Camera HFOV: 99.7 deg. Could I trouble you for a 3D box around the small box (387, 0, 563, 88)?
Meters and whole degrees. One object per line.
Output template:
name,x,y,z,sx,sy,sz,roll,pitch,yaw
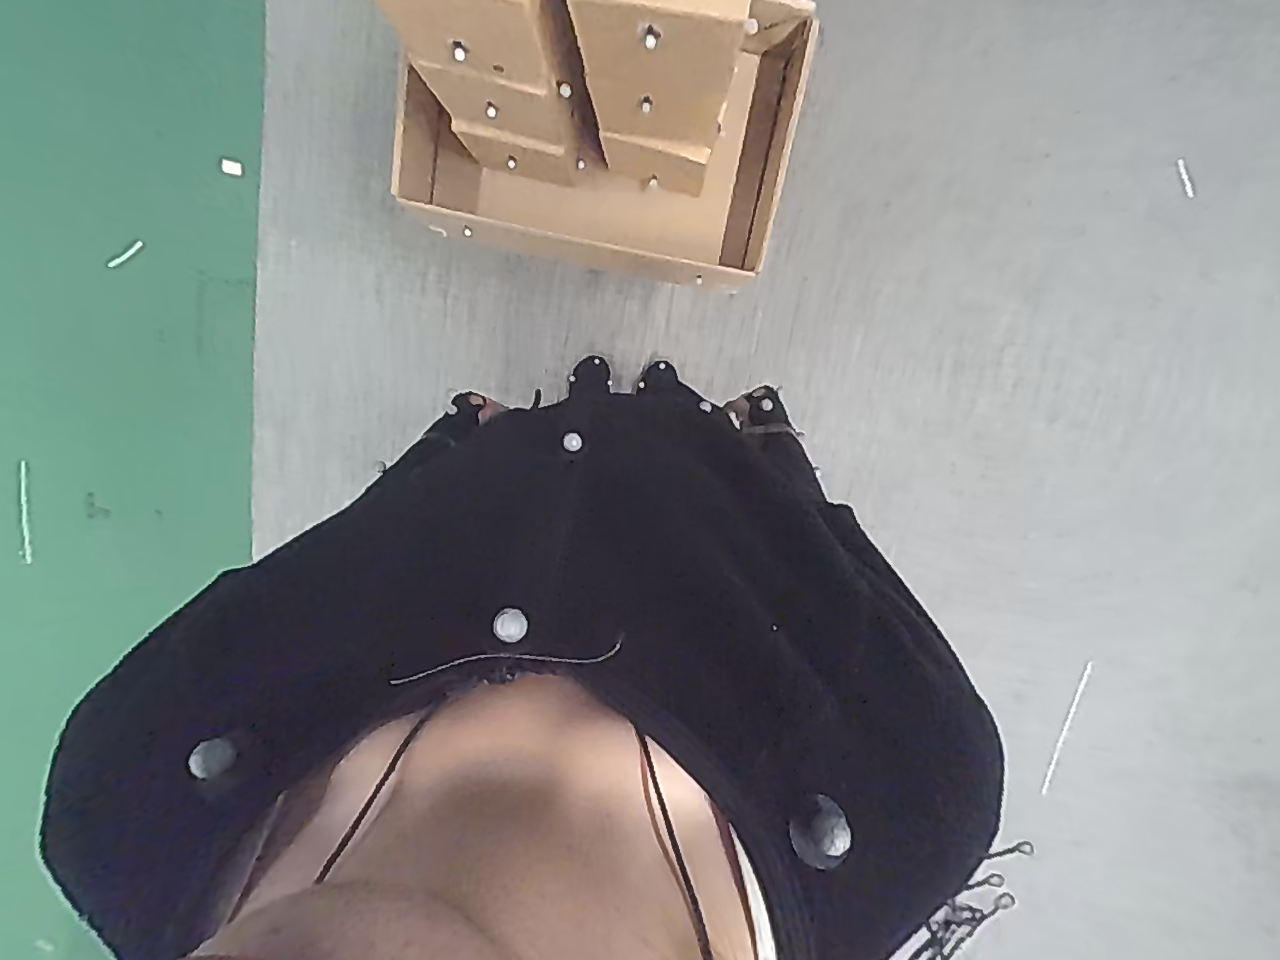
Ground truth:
small box,-0.173,-0.558,0.562,0.168,0.176,0.179,9,102,-2
